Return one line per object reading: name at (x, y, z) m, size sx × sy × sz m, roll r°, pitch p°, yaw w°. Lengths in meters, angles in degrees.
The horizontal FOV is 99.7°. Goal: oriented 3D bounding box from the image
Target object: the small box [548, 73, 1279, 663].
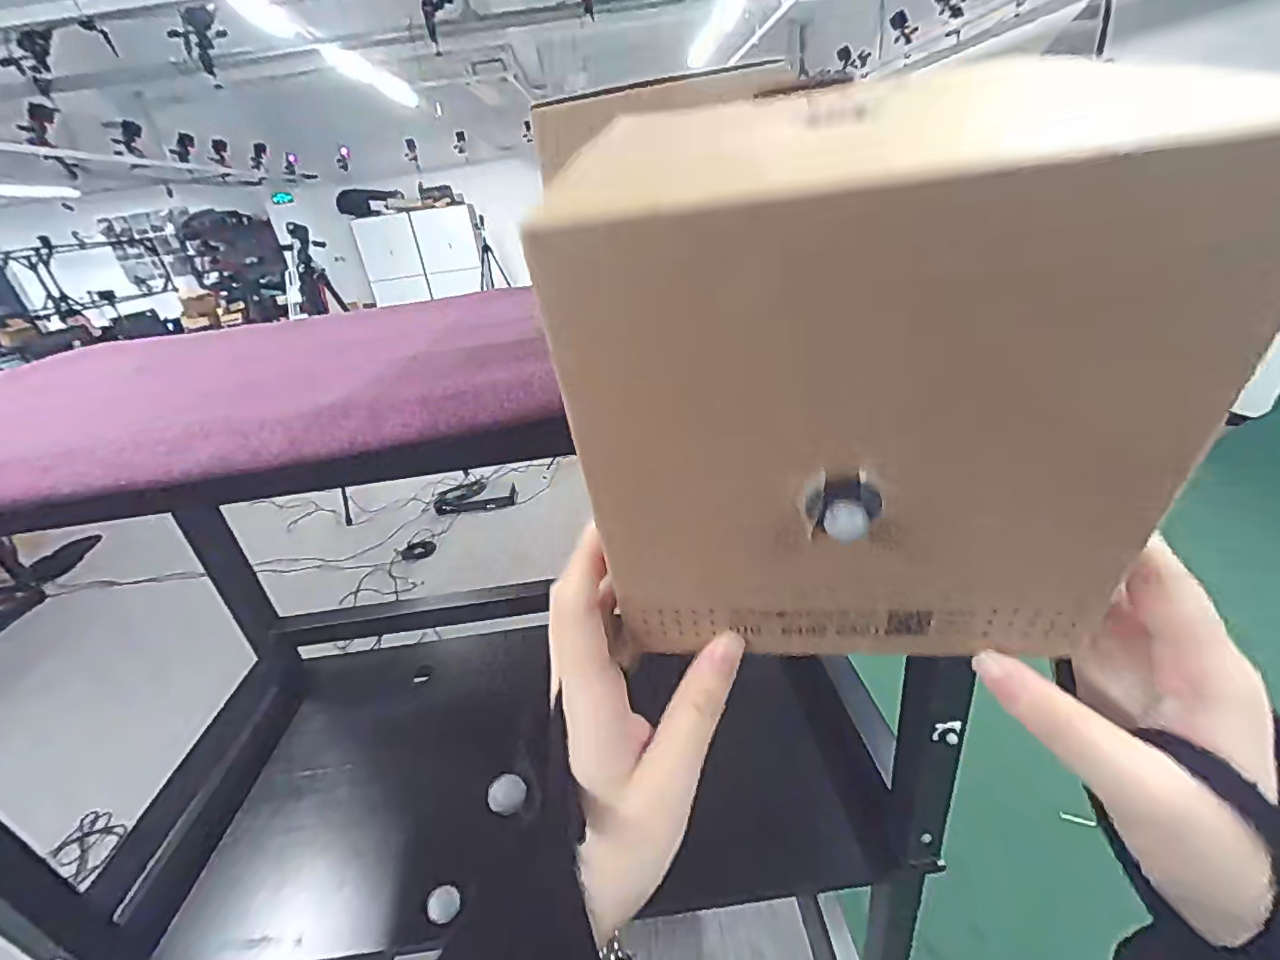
small box at (0.078, -0.044, 0.222) m, size 0.168 × 0.176 × 0.179 m, roll -2°, pitch 39°, yaw 10°
